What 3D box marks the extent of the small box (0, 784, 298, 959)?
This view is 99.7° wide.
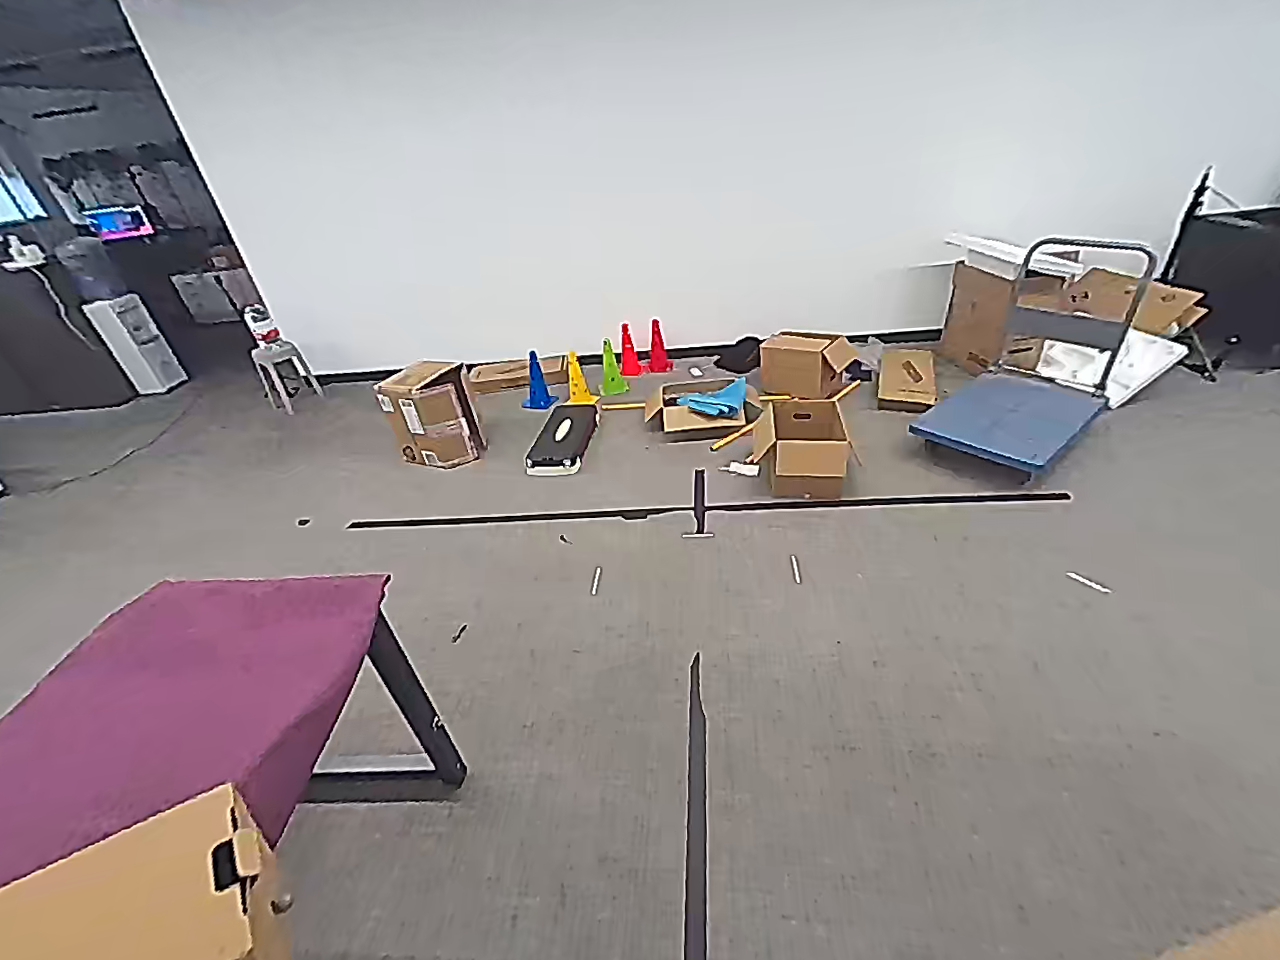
[{"bbox_3d":[-0.431,0.429,0.482,0.179,0.176,0.168,-18,40,-33],"label":"small box"}]
